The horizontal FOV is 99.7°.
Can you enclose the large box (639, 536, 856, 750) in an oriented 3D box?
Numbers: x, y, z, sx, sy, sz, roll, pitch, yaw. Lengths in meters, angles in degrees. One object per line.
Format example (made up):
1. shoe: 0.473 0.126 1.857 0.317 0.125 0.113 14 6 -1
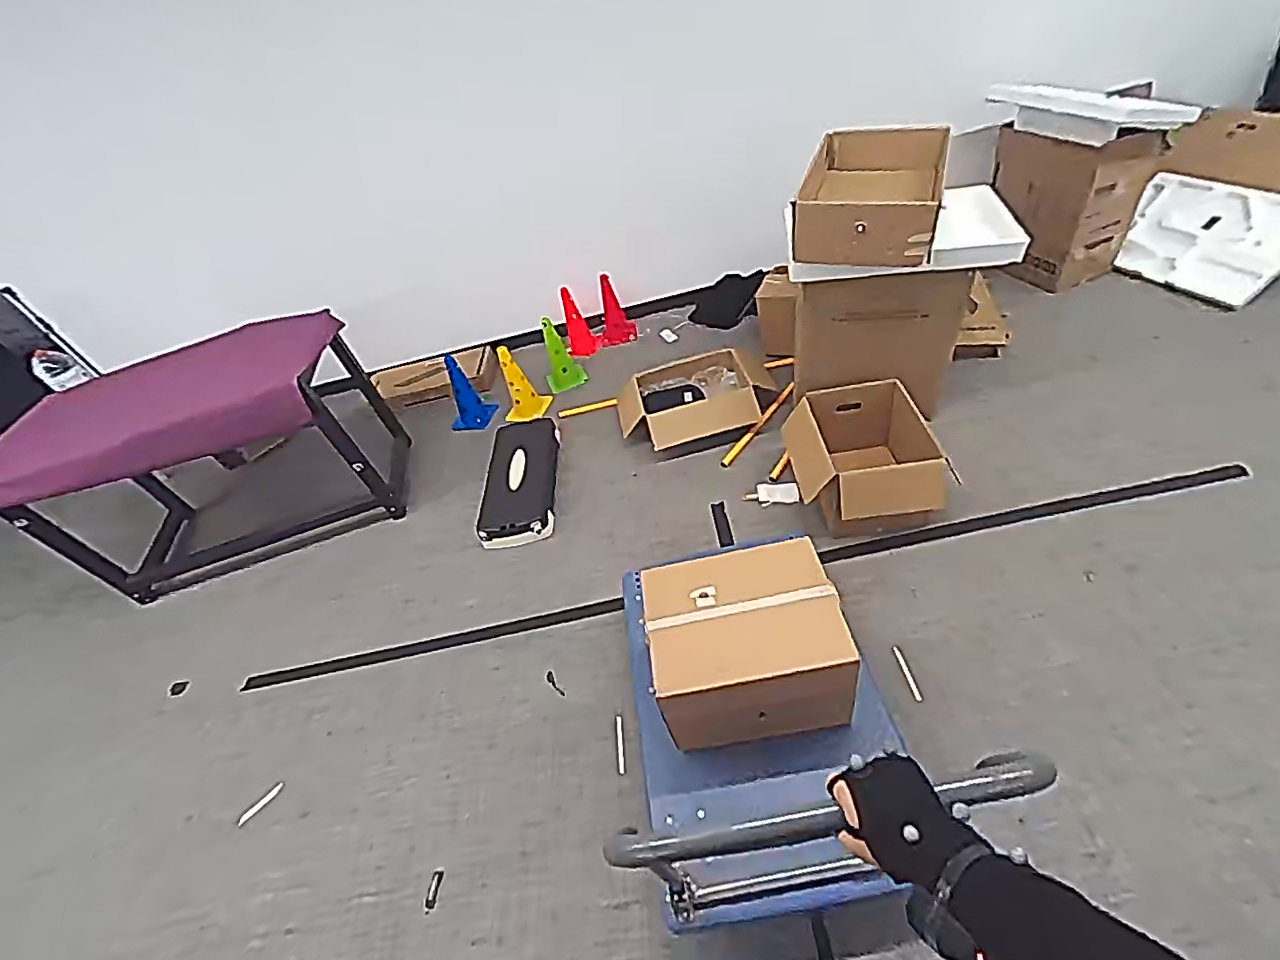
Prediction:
1. large box: 0.238 0.381 1.247 0.408 0.320 0.320 -13 42 5
